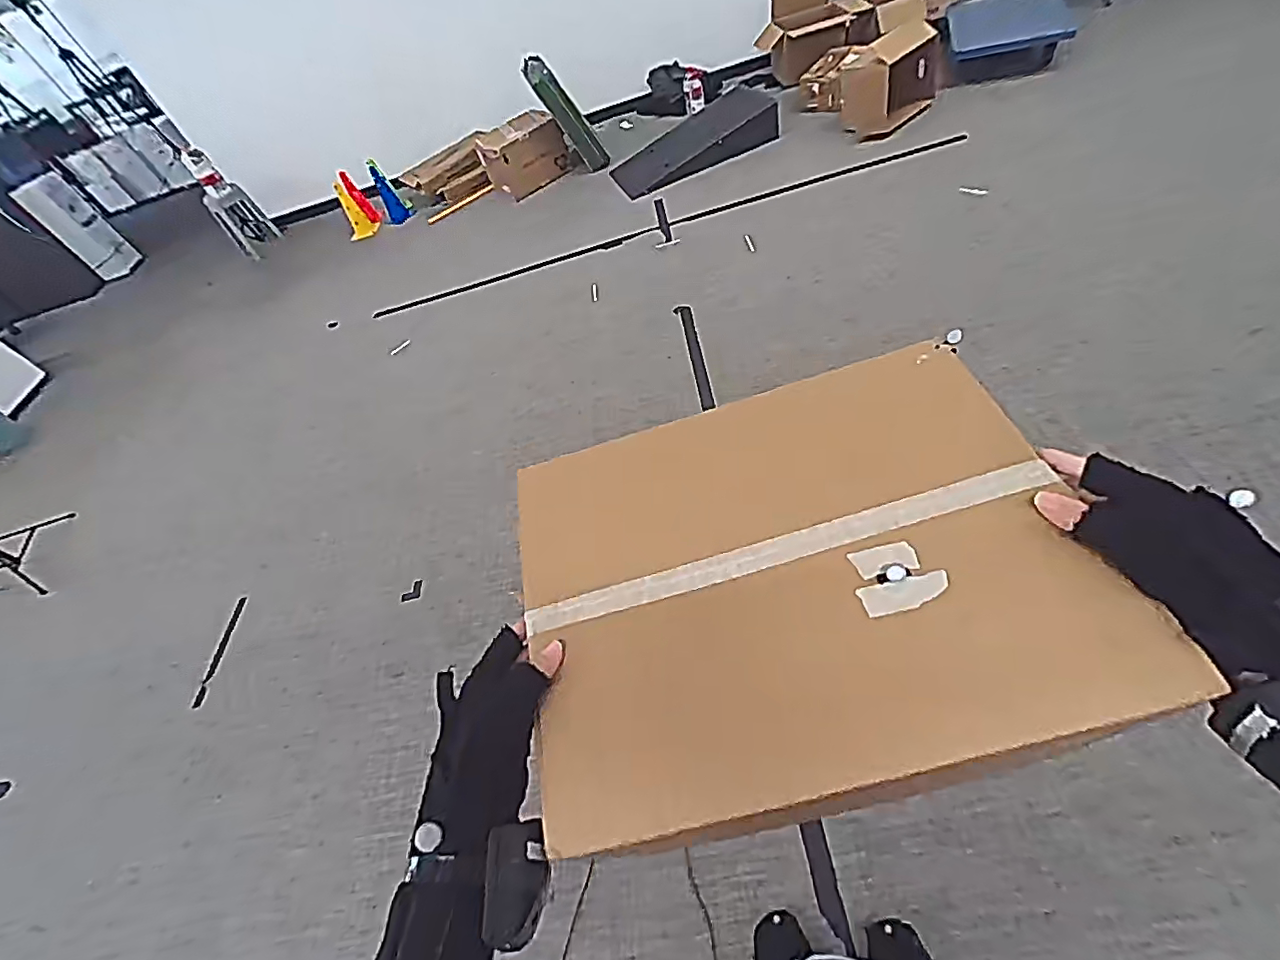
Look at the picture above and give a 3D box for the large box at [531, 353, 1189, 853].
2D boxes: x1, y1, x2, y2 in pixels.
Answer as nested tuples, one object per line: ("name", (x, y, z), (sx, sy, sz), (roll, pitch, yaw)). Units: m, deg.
("large box", (0.145, 0.142, 0.540), (0.408, 0.320, 0.320), (-17, 54, 4))
